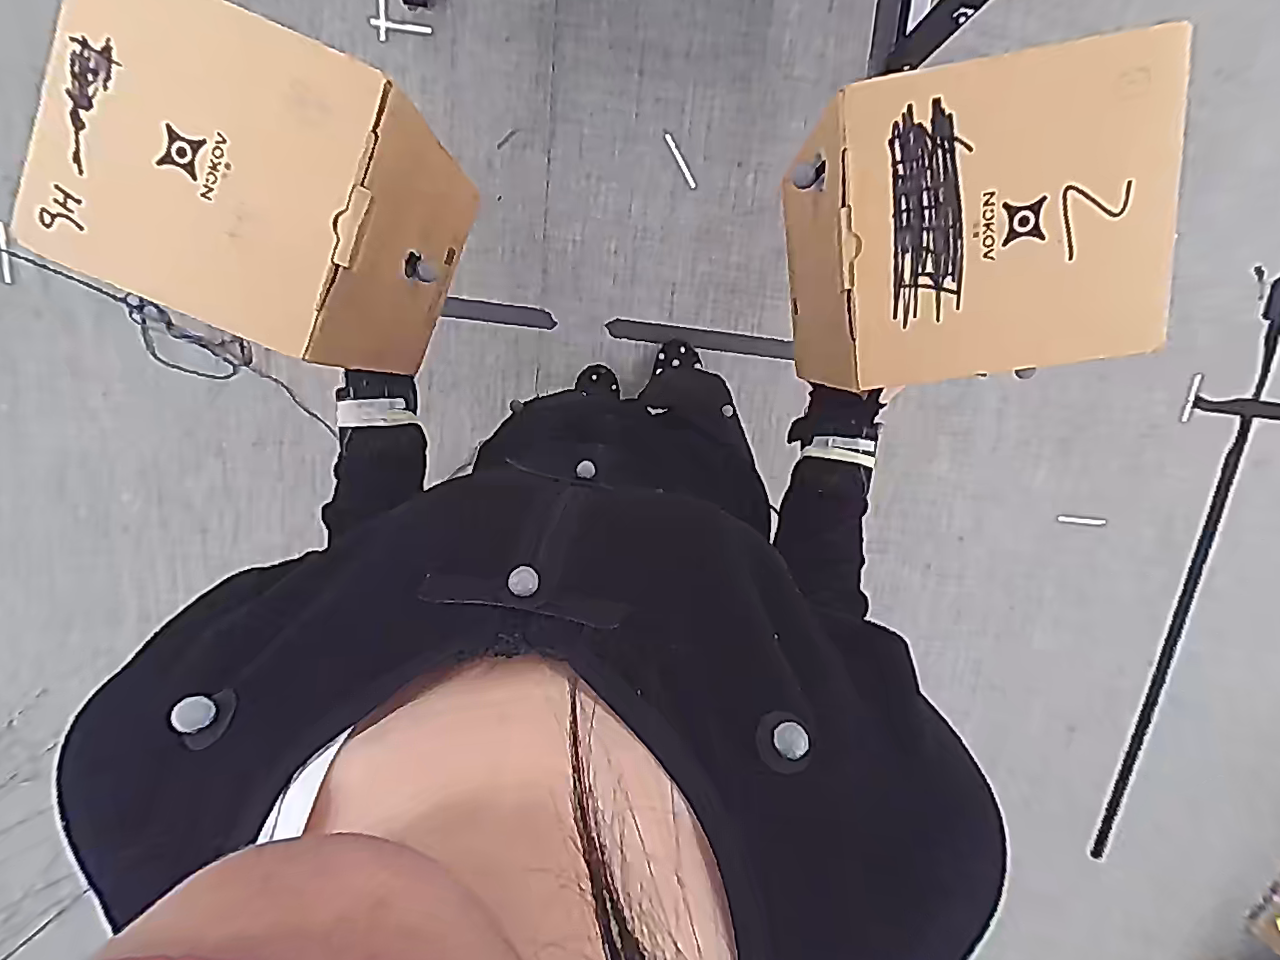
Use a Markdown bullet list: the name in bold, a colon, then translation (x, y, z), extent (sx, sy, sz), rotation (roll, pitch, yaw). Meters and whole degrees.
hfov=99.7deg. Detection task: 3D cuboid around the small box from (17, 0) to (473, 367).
- **small box**: translation (-0.239, -0.187, 0.377), extent (0.179, 0.176, 0.168), rotation (22, 97, -5)
